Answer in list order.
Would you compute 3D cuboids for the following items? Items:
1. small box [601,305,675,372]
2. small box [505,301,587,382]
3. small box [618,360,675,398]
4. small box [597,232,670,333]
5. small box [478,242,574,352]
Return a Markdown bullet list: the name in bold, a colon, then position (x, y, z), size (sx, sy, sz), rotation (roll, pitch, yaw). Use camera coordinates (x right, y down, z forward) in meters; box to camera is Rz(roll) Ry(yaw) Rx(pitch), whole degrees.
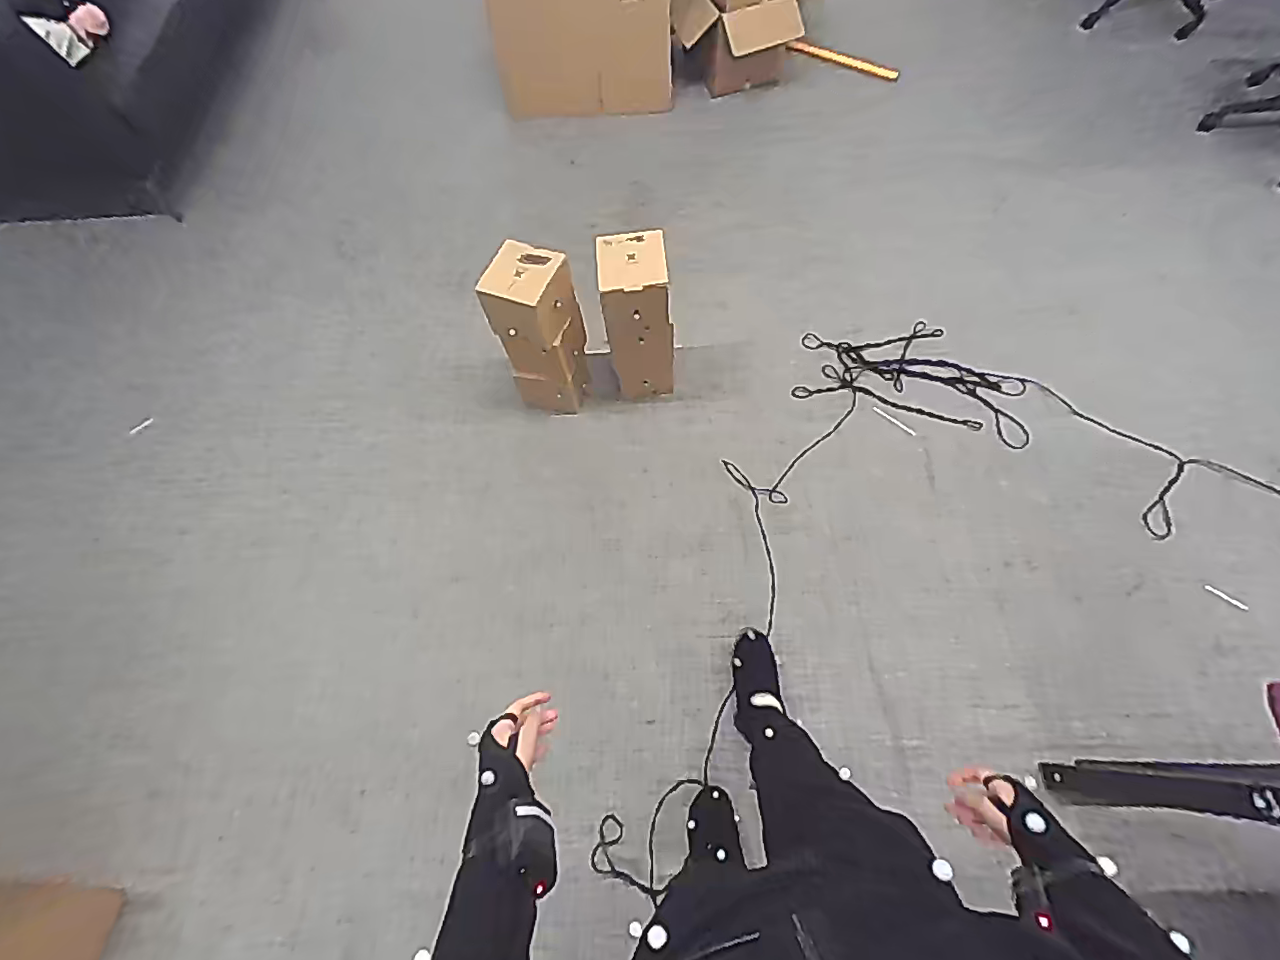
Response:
- **small box**: position (-0.004, -0.424, 1.513), size (0.179, 0.176, 0.168), rotation (-12, 66, -1)
- **small box**: position (-0.265, -0.400, 1.526), size (0.179, 0.176, 0.168), rotation (15, 66, 10)
- **small box**: position (0.015, -0.368, 1.665), size (0.168, 0.176, 0.179), rotation (-8, 65, 1)
- **small box**: position (-0.013, -0.487, 1.363), size (0.168, 0.176, 0.179), rotation (-5, 67, 3)
- **small box**: position (-0.278, -0.462, 1.375), size (0.168, 0.176, 0.179), rotation (19, 68, 12)
